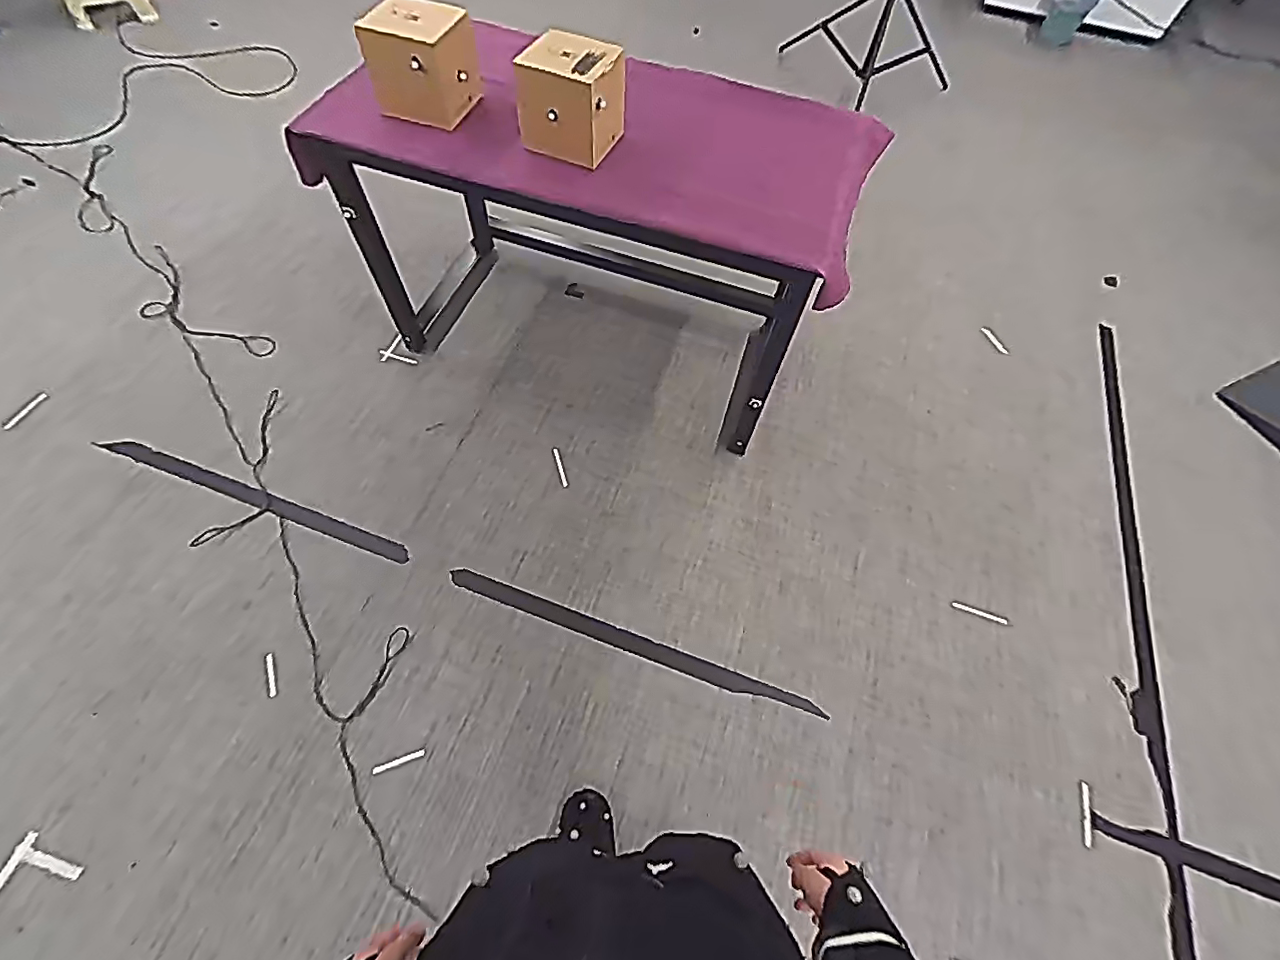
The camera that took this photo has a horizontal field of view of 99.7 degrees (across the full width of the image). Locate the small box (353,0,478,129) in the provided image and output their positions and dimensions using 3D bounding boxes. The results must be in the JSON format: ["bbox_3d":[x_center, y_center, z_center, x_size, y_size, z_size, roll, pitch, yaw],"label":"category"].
[{"bbox_3d":[-0.475,-0.904,1.180,0.179,0.176,0.168,16,60,5],"label":"small box"}]
